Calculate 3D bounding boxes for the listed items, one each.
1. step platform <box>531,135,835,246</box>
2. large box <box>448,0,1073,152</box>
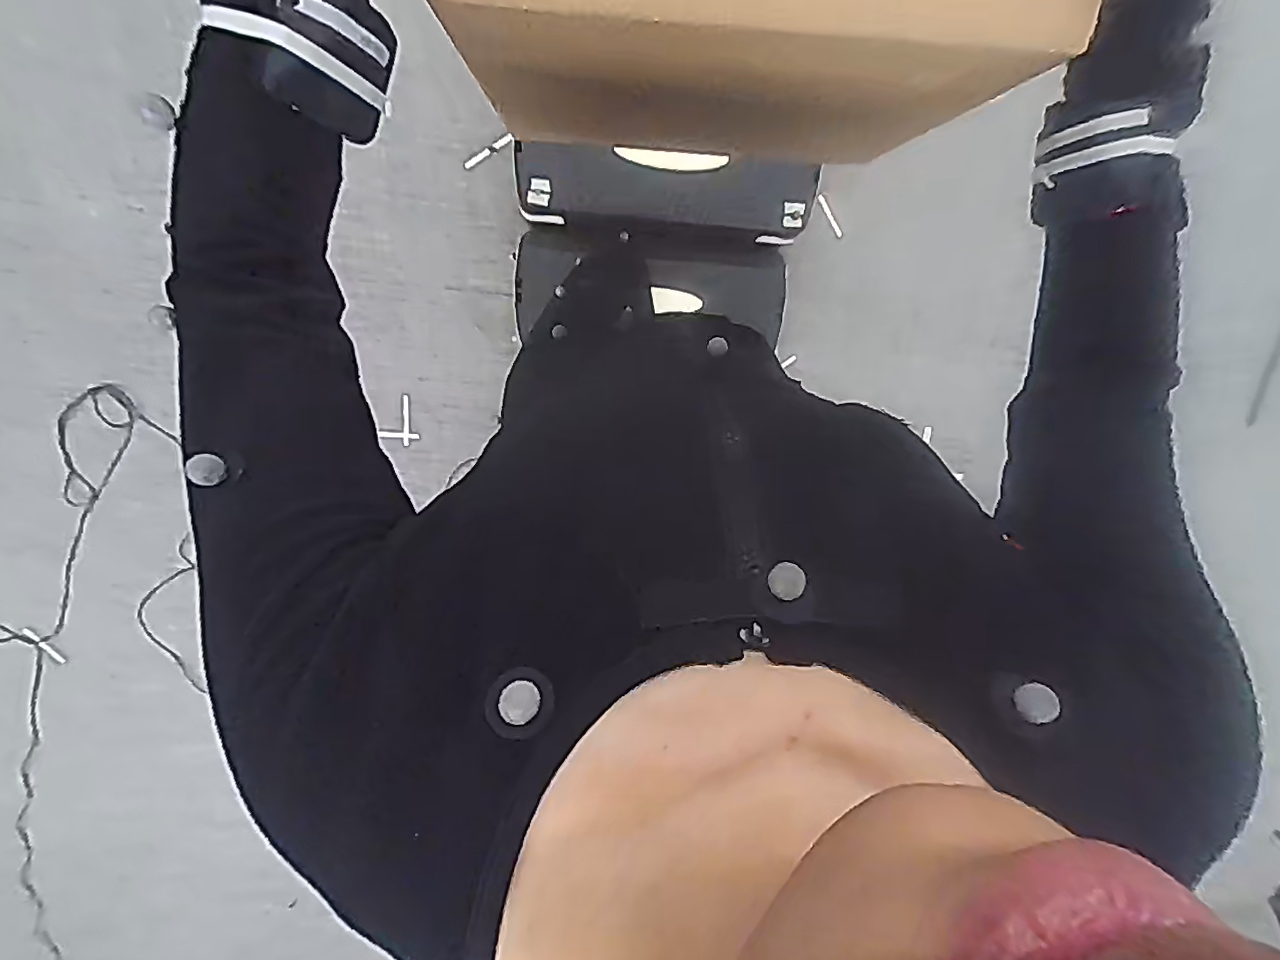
[{"bbox_3d":[0.095,-0.731,1.252,0.684,0.204,0.286,2,105,-6],"label":"step platform"},{"bbox_3d":[0.070,-0.478,0.425,0.408,0.320,0.320,1,109,-5],"label":"large box"}]
